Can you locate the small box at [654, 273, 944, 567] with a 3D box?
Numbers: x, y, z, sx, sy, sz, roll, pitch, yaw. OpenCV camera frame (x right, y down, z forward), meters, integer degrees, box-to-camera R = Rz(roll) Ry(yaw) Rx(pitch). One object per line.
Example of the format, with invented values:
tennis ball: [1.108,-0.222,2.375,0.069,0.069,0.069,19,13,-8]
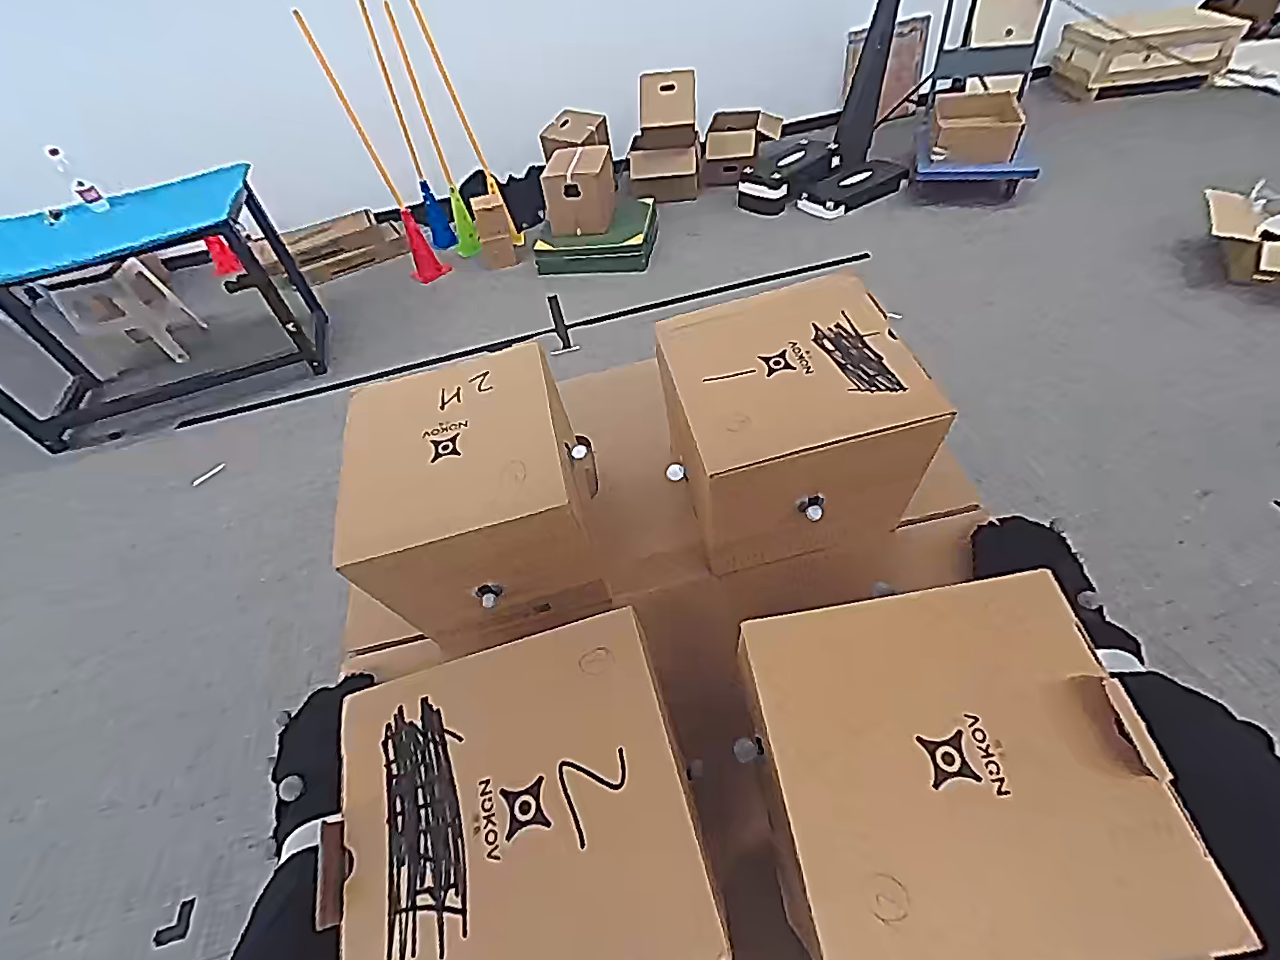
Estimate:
small box: [0.120,-0.044,0.475,0.179,0.176,0.168,-14,56,1]

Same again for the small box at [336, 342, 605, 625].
small box: [-0.135,0.014,0.481,0.168,0.176,0.179,-15,55,-1]
